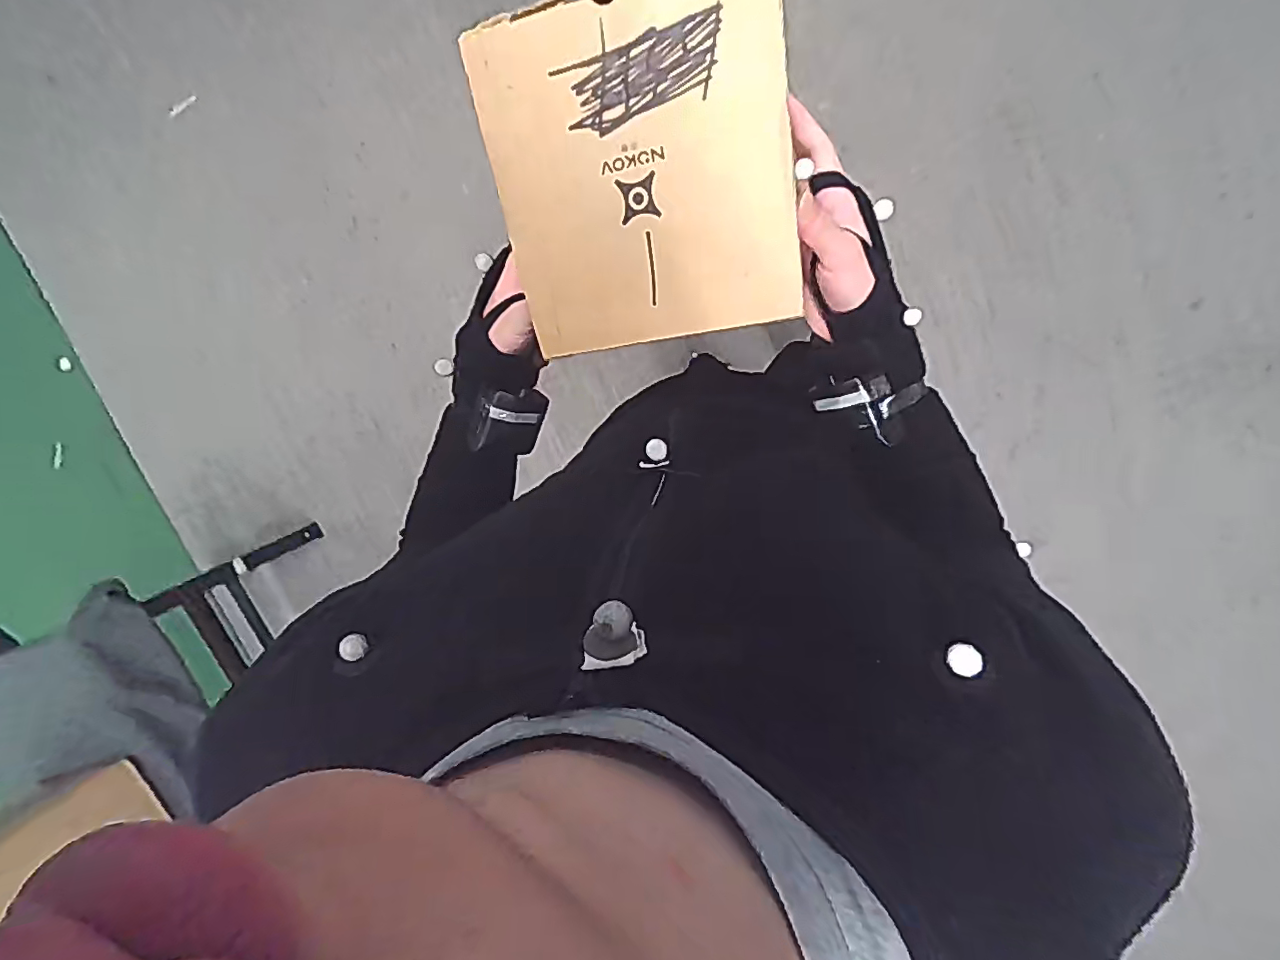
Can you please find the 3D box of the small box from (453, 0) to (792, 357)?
[{"bbox_3d":[0.009,-0.196,0.368,0.168,0.176,0.179,-5,113,16],"label":"small box"}]
